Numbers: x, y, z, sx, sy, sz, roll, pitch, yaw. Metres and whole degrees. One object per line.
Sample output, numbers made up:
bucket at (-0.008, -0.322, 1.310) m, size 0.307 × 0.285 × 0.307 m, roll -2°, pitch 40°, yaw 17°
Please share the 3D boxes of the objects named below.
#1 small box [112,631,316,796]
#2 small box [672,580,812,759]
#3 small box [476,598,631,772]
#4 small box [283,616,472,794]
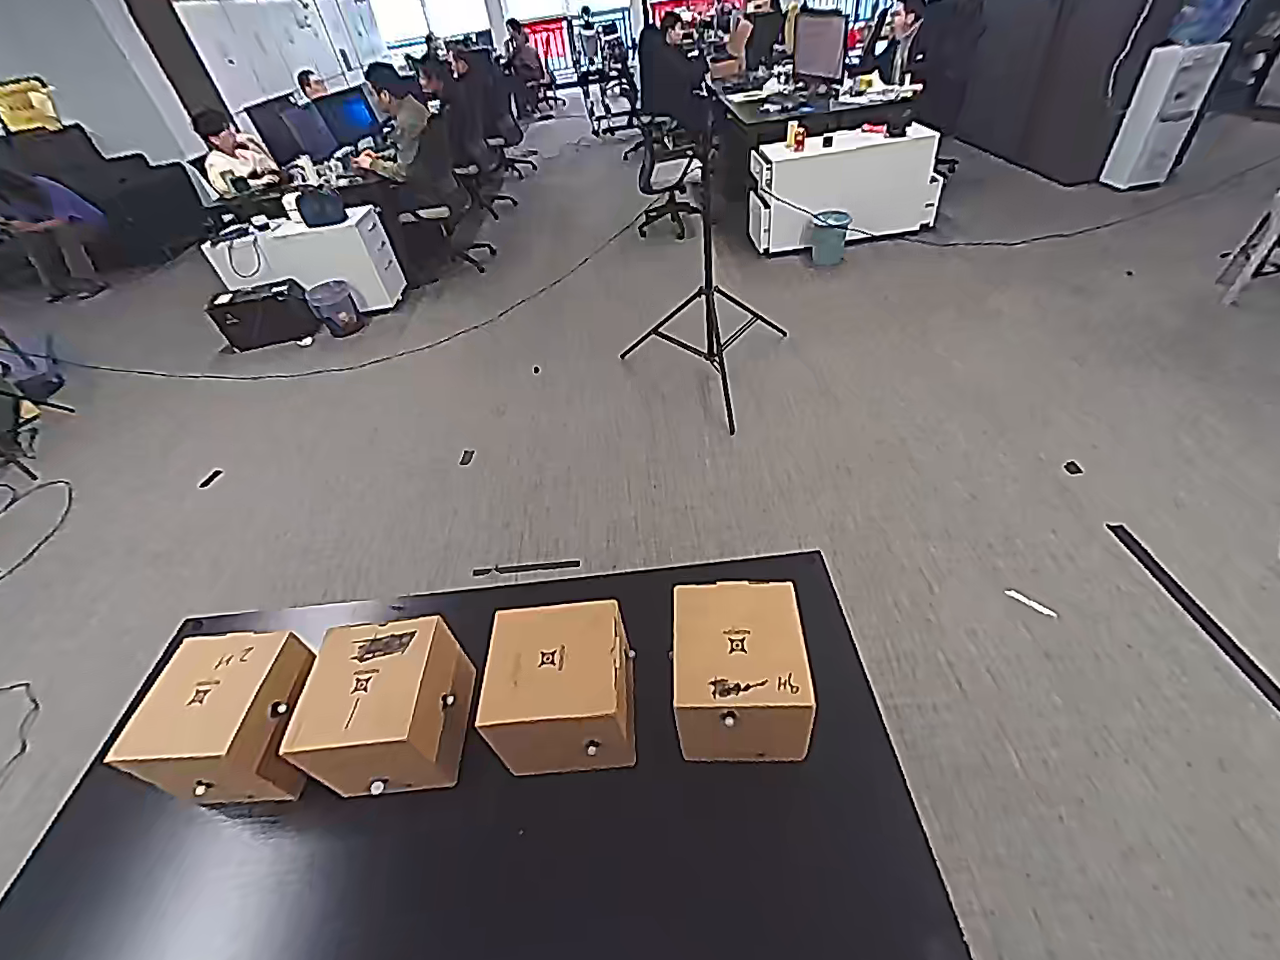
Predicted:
small box at (-0.575, 0.344, 0.787) m, size 0.168 × 0.176 × 0.179 m, roll -4°, pitch 43°, yaw 4°
small box at (0.133, 0.259, 0.746) m, size 0.168 × 0.176 × 0.179 m, roll -4°, pitch 42°, yaw 7°
small box at (-0.106, 0.290, 0.761) m, size 0.179 × 0.176 × 0.168 m, roll -8°, pitch 41°, yaw 3°
small box at (-0.353, 0.320, 0.771) m, size 0.168 × 0.176 × 0.179 m, roll -7°, pitch 44°, yaw 2°
